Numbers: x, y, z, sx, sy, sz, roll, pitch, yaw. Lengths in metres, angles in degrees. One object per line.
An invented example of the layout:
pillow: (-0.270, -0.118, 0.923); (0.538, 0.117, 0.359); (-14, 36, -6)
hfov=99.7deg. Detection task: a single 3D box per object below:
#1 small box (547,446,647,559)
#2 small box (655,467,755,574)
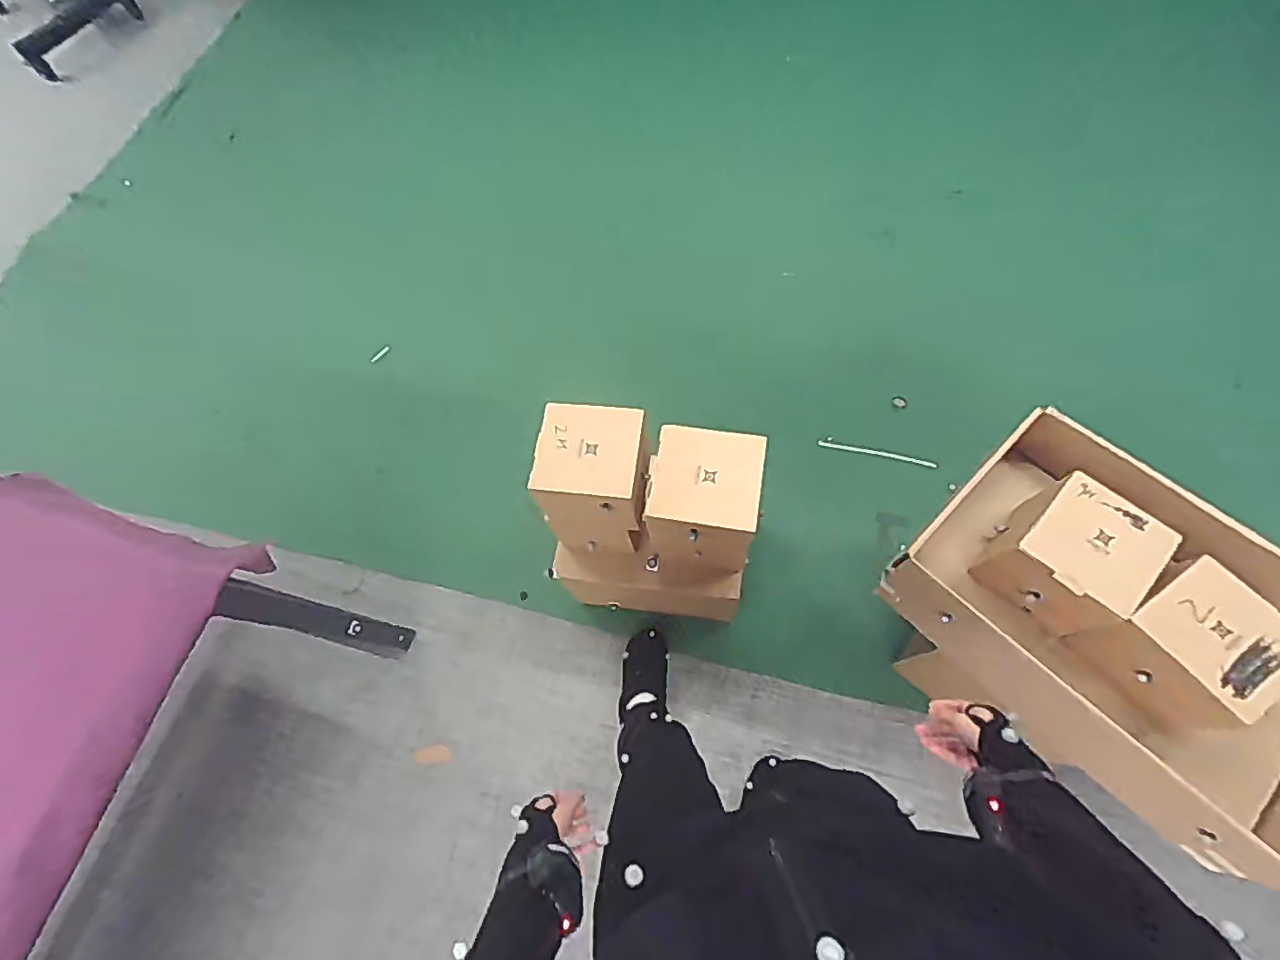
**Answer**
small box: (-0.080, 0.050, 1.128); (0.168, 0.176, 0.179); (6, 67, 9)
small box: (0.133, 0.086, 1.088); (0.179, 0.176, 0.168); (5, 68, 8)
